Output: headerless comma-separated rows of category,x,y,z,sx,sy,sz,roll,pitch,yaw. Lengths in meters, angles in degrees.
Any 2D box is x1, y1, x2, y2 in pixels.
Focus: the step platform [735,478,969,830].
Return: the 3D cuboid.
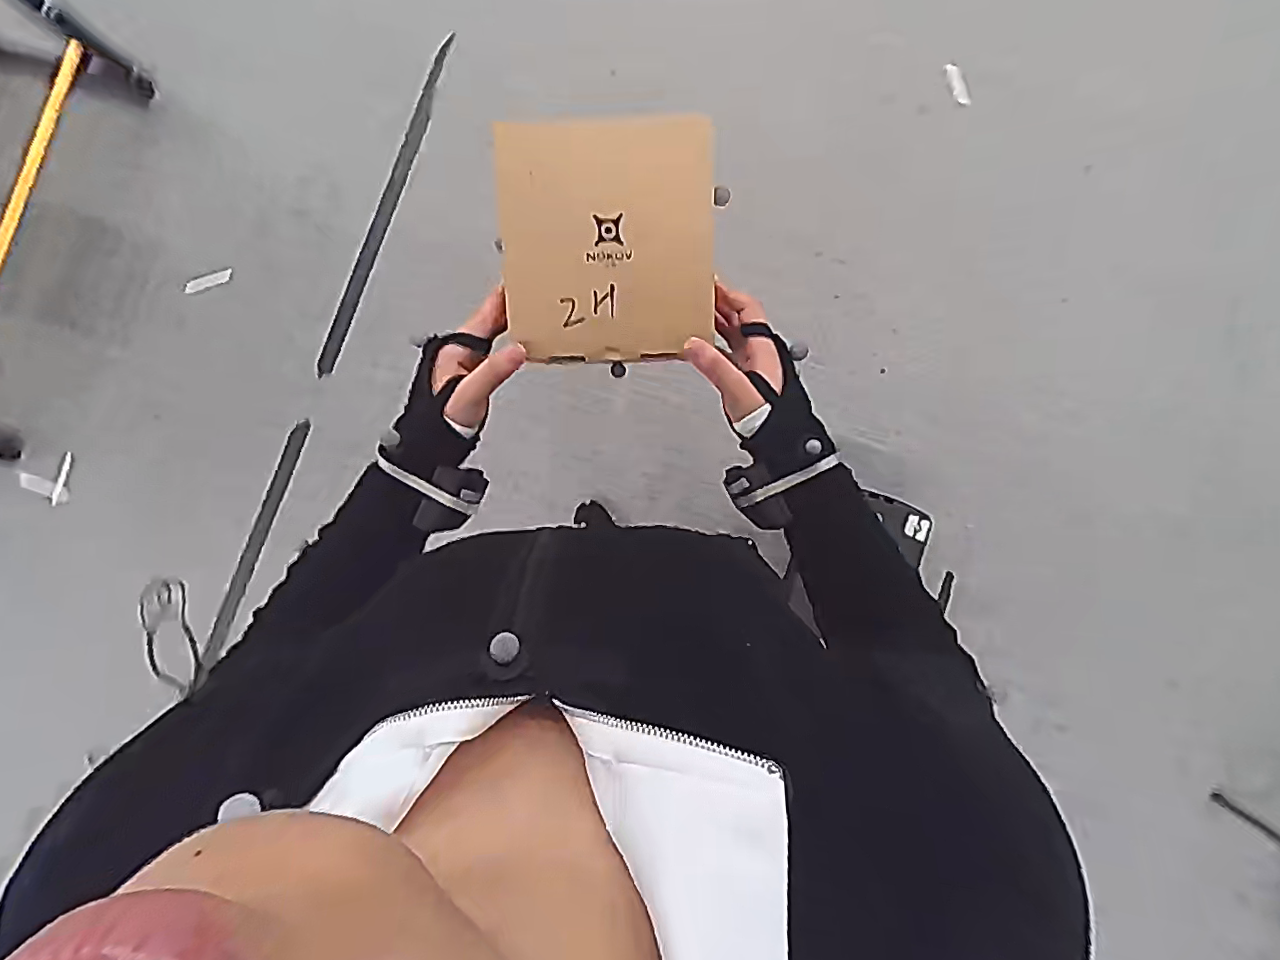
step platform,0.435,0.344,1.163,0.286,0.204,0.684,18,89,2
